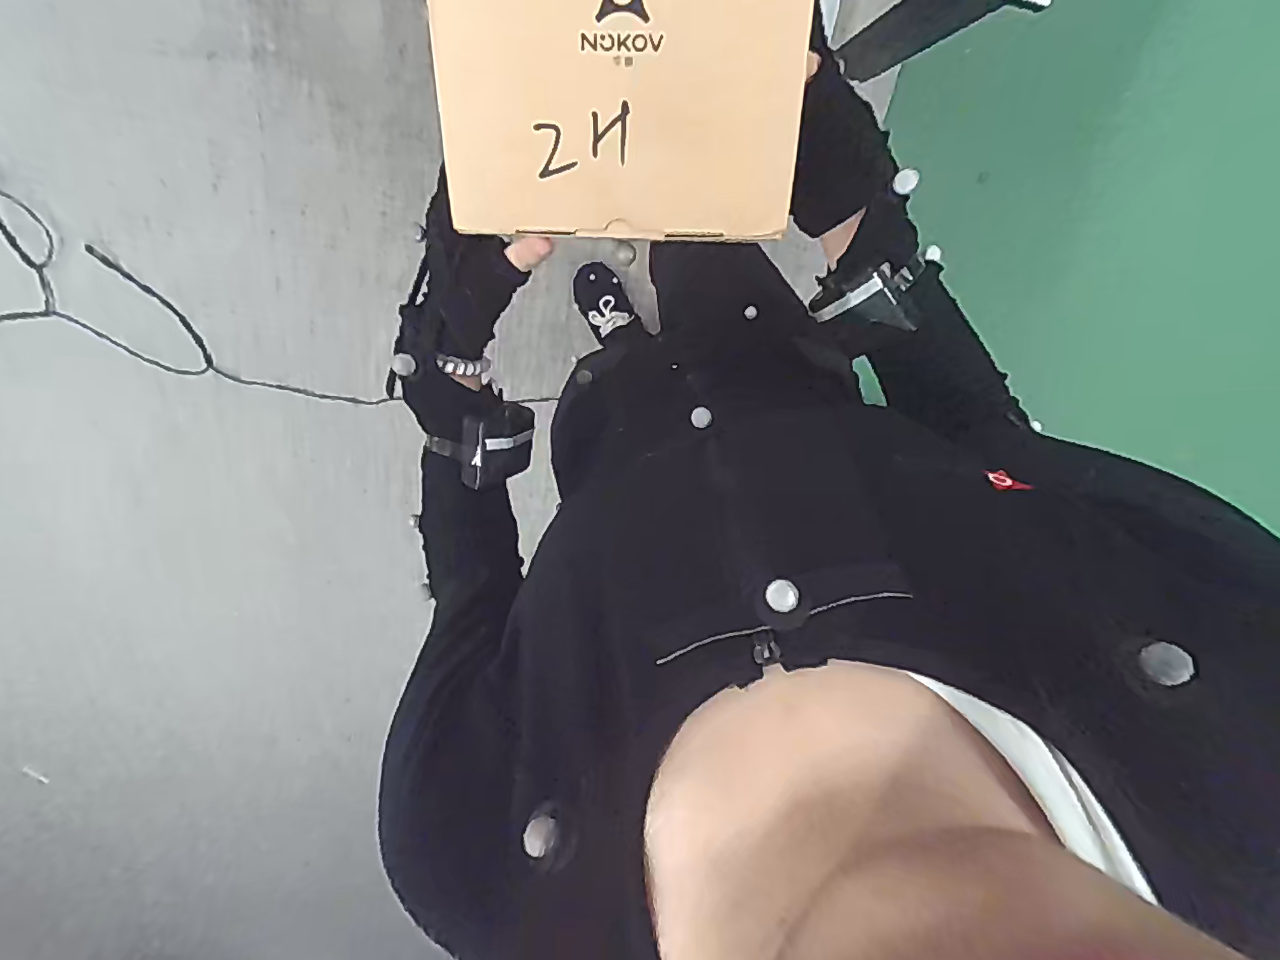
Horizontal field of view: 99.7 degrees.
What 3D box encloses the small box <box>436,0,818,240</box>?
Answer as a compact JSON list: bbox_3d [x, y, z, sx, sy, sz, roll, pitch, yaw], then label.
[{"bbox_3d":[-0.005,-0.235,0.303,0.168,0.176,0.179,2,113,0],"label":"small box"}]
